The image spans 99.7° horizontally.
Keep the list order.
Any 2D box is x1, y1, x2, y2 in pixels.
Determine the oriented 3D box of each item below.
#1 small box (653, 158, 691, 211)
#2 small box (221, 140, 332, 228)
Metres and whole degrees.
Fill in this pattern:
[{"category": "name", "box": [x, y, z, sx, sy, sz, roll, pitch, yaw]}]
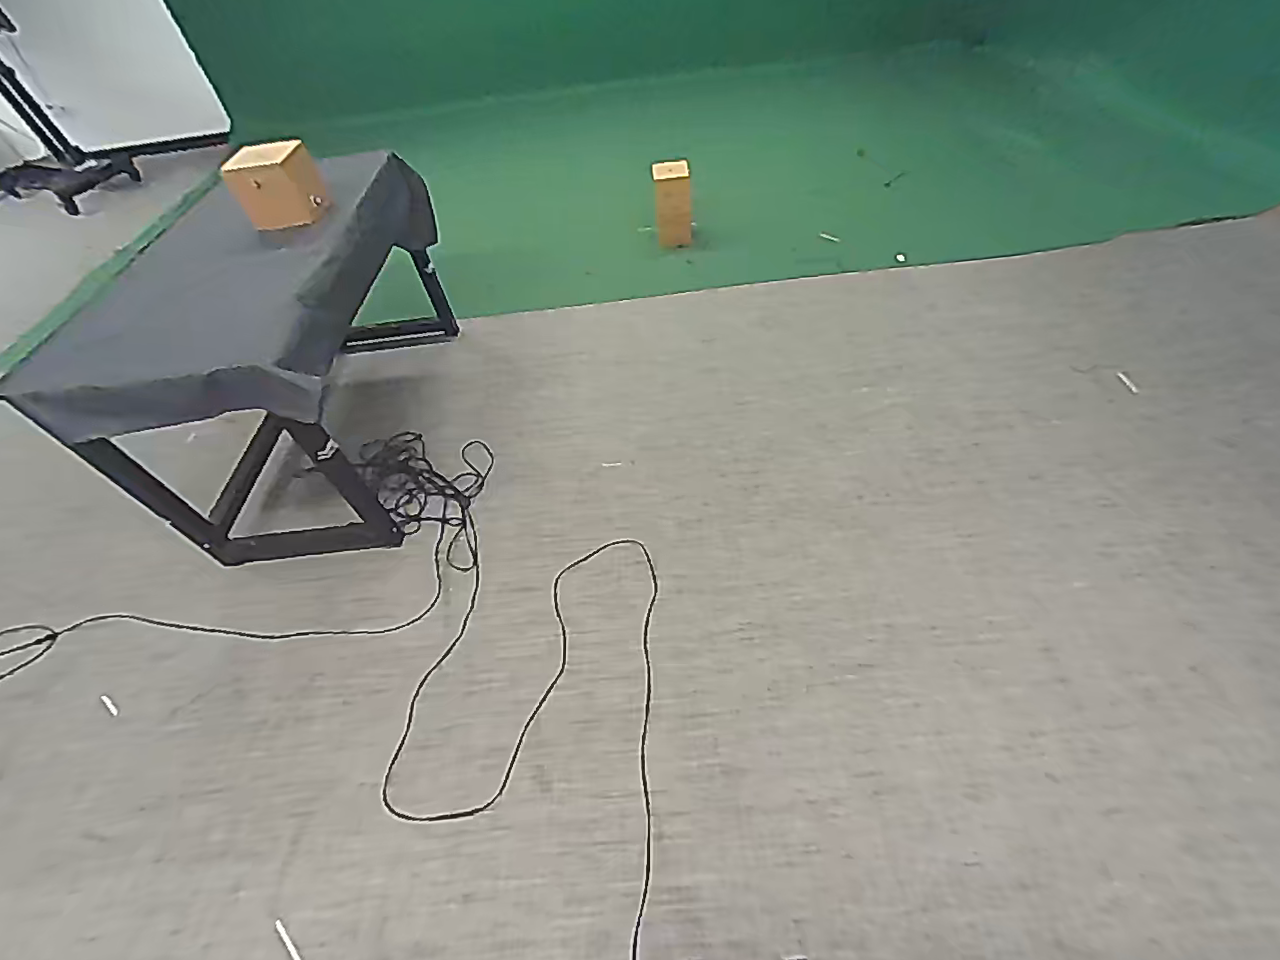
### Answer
[{"category": "small box", "box": [0.154, -1.410, 2.594, 0.168, 0.176, 0.179, -5, 50, 4]}, {"category": "small box", "box": [-1.030, -0.843, 1.550, 0.179, 0.176, 0.168, -5, 51, 2]}]
